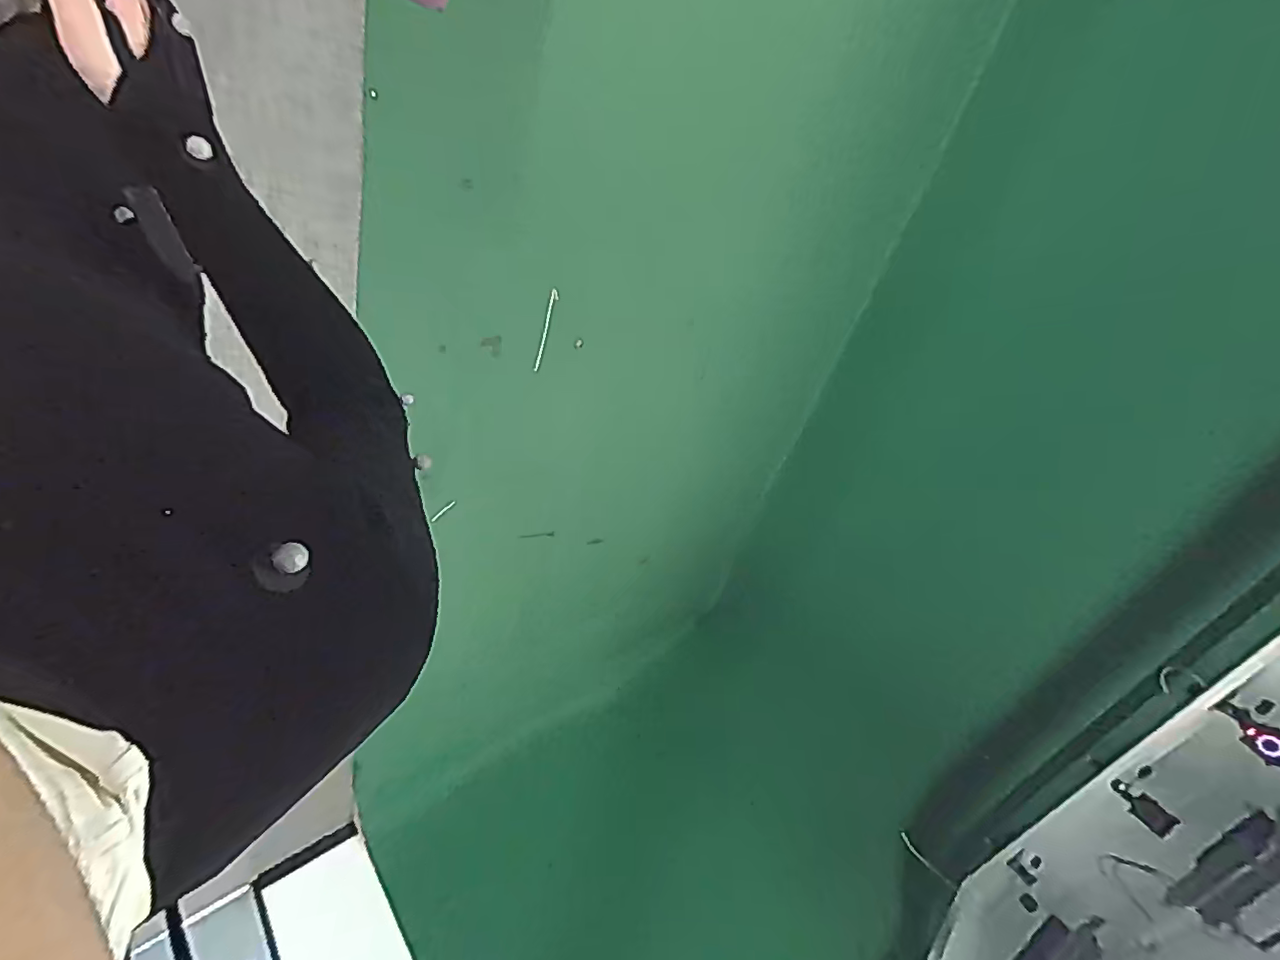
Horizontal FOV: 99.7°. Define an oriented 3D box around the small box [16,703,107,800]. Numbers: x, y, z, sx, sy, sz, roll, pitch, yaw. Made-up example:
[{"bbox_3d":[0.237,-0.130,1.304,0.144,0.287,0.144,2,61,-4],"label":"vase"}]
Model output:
[{"bbox_3d":[-1.717,0.793,1.605,0.168,0.176,0.179,-10,132,-44],"label":"small box"}]
